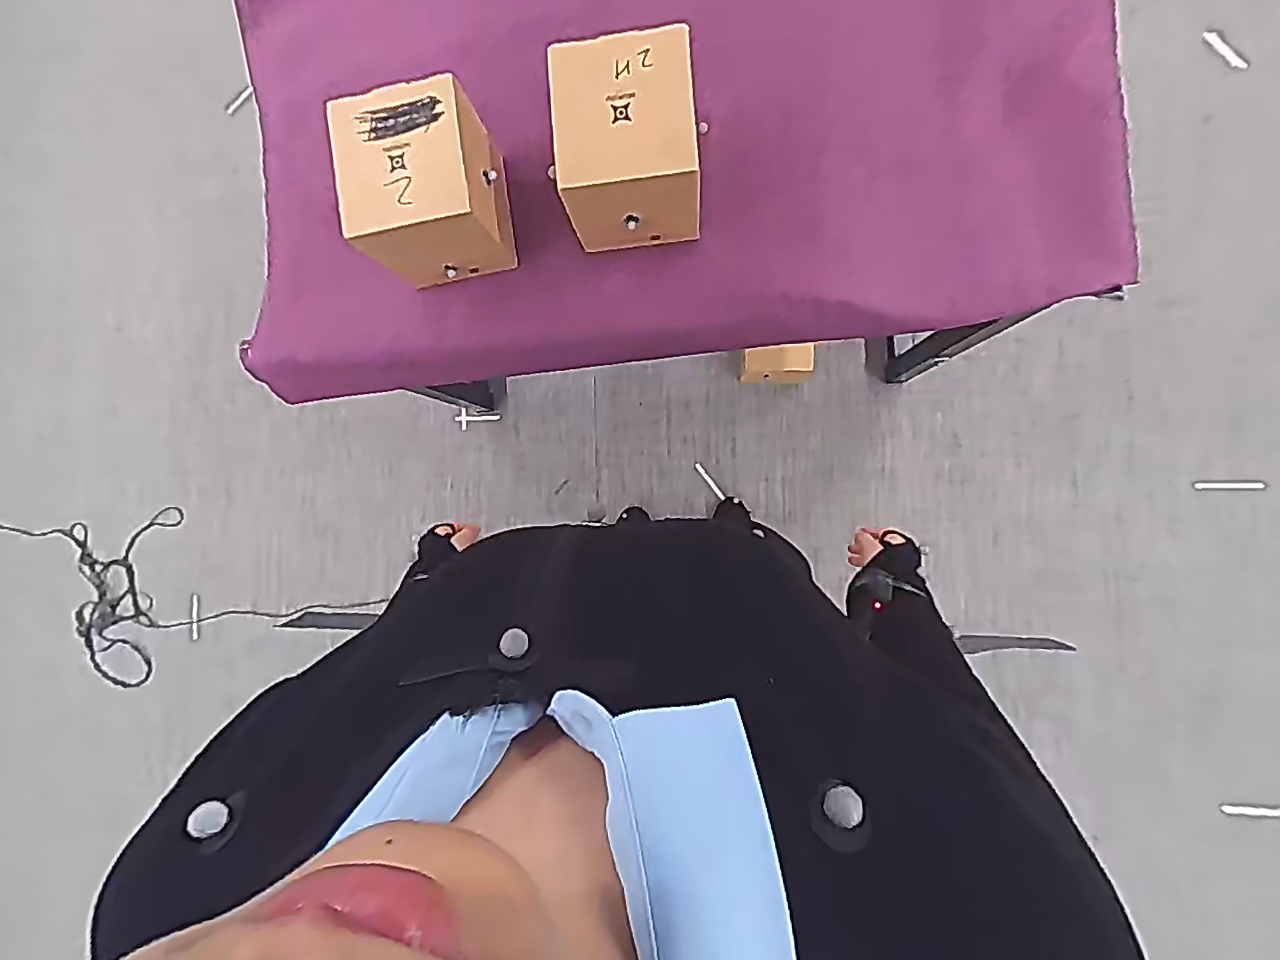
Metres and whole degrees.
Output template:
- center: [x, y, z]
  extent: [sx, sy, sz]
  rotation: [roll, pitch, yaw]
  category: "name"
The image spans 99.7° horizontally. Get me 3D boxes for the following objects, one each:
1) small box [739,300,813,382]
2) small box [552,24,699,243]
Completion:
- center: [0.346, -0.353, 1.397]
  extent: [0.168, 0.176, 0.179]
  rotation: [2, 89, 7]
  category: "small box"
- center: [-0.010, -0.427, 0.700]
  extent: [0.168, 0.176, 0.179]
  rotation: [-4, 87, 5]
  category: "small box"
